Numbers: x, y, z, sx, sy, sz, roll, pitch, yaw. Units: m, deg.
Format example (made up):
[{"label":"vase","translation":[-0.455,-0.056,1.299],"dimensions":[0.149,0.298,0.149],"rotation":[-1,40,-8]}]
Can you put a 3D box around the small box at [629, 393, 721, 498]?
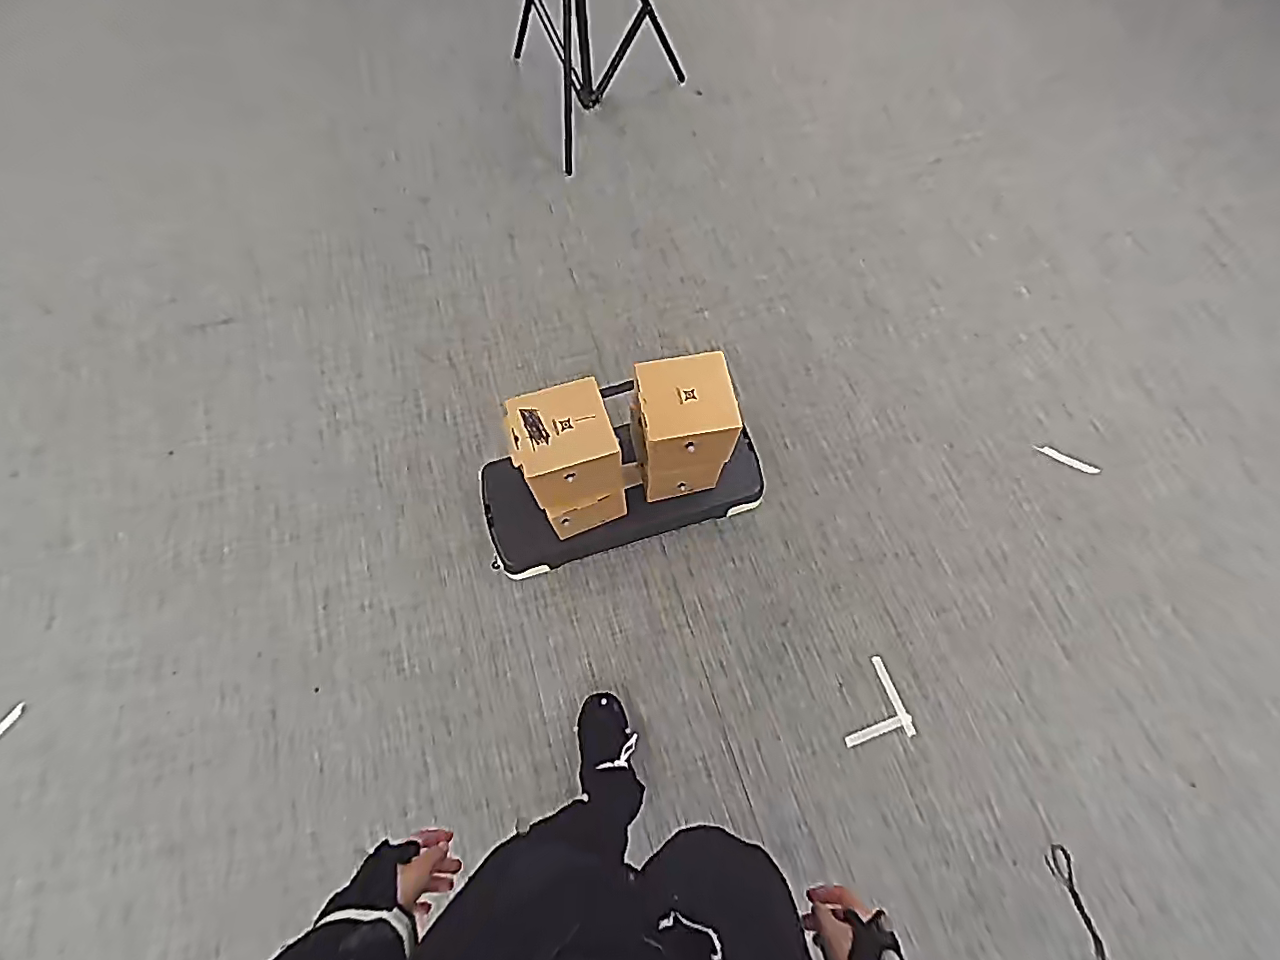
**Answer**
[{"label":"small box","translation":[0.075,-0.068,1.223],"dimensions":[0.168,0.176,0.179],"rotation":[-13,70,-4]}]
